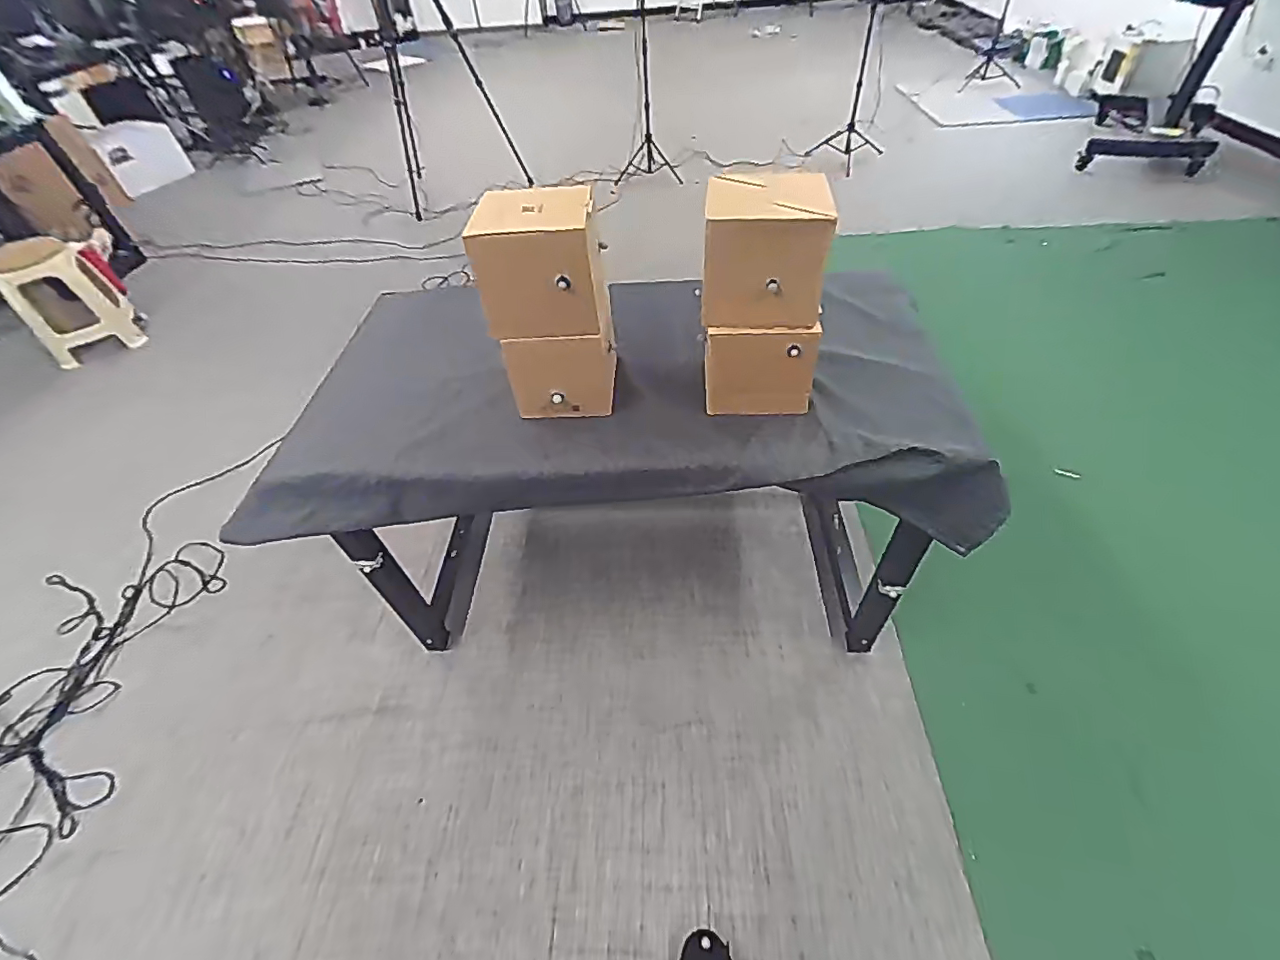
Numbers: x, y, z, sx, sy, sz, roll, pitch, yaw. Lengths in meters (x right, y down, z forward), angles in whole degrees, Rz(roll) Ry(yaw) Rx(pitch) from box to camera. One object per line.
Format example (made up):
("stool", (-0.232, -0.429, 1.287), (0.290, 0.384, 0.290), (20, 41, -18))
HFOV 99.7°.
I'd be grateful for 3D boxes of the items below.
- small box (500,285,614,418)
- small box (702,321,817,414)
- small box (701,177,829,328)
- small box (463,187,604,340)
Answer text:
("small box", (-0.138, -0.232, 0.979), (0.168, 0.176, 0.179), (-1, 49, 4))
("small box", (0.198, -0.229, 0.951), (0.179, 0.176, 0.168), (0, 48, 4))
("small box", (0.185, -0.352, 0.837), (0.179, 0.176, 0.168), (3, 48, 7))
("small box", (-0.154, -0.340, 0.858), (0.179, 0.176, 0.168), (-3, 47, 4))
